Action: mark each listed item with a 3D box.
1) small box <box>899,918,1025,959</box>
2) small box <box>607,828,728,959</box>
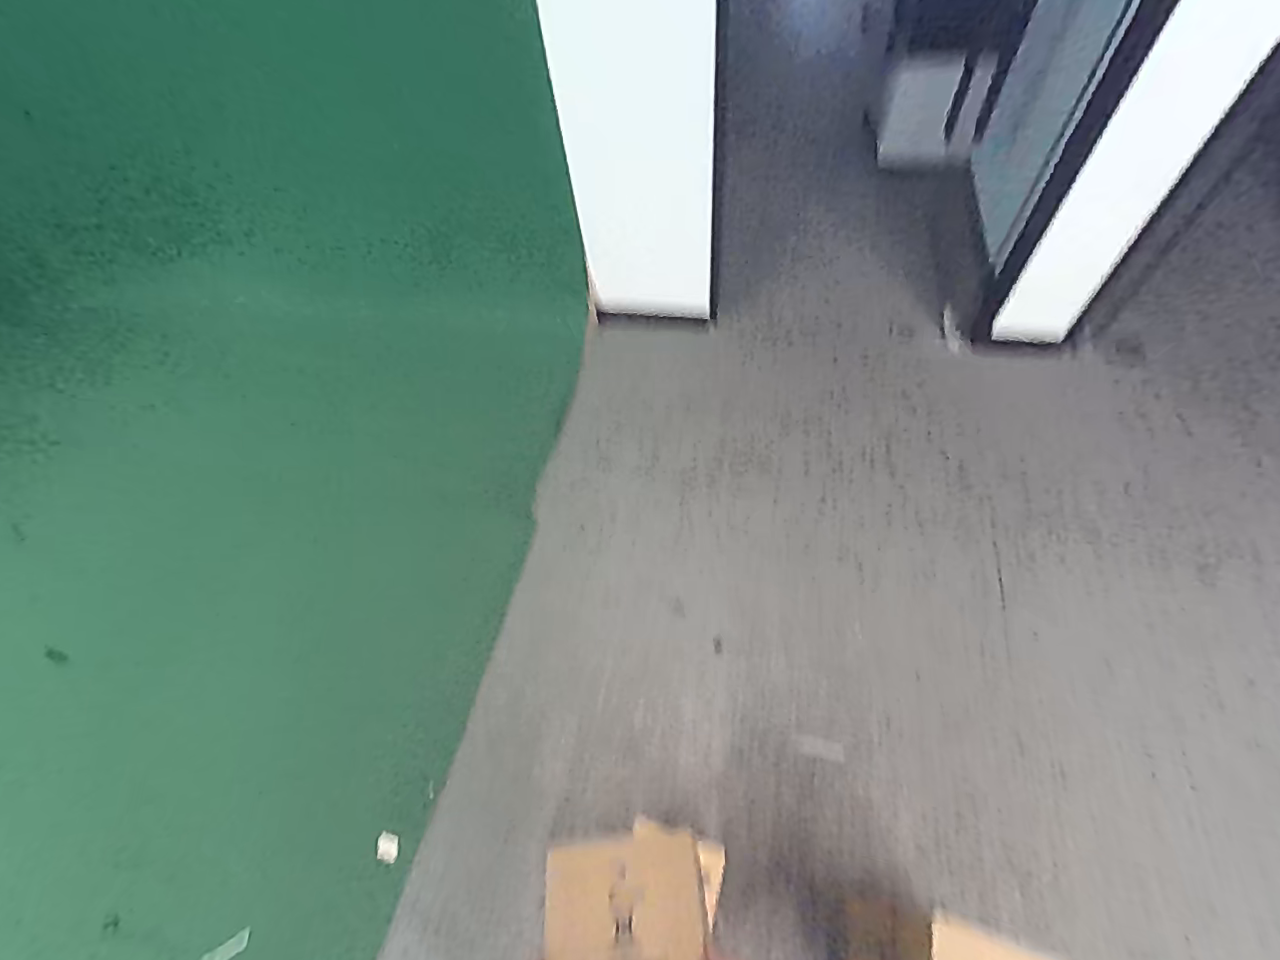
[{"bbox_3d":[0.461,0.734,0.740,0.179,0.176,0.168,14,59,15],"label":"small box"},{"bbox_3d":[0.053,0.753,0.970,0.168,0.176,0.179,13,58,14],"label":"small box"}]
